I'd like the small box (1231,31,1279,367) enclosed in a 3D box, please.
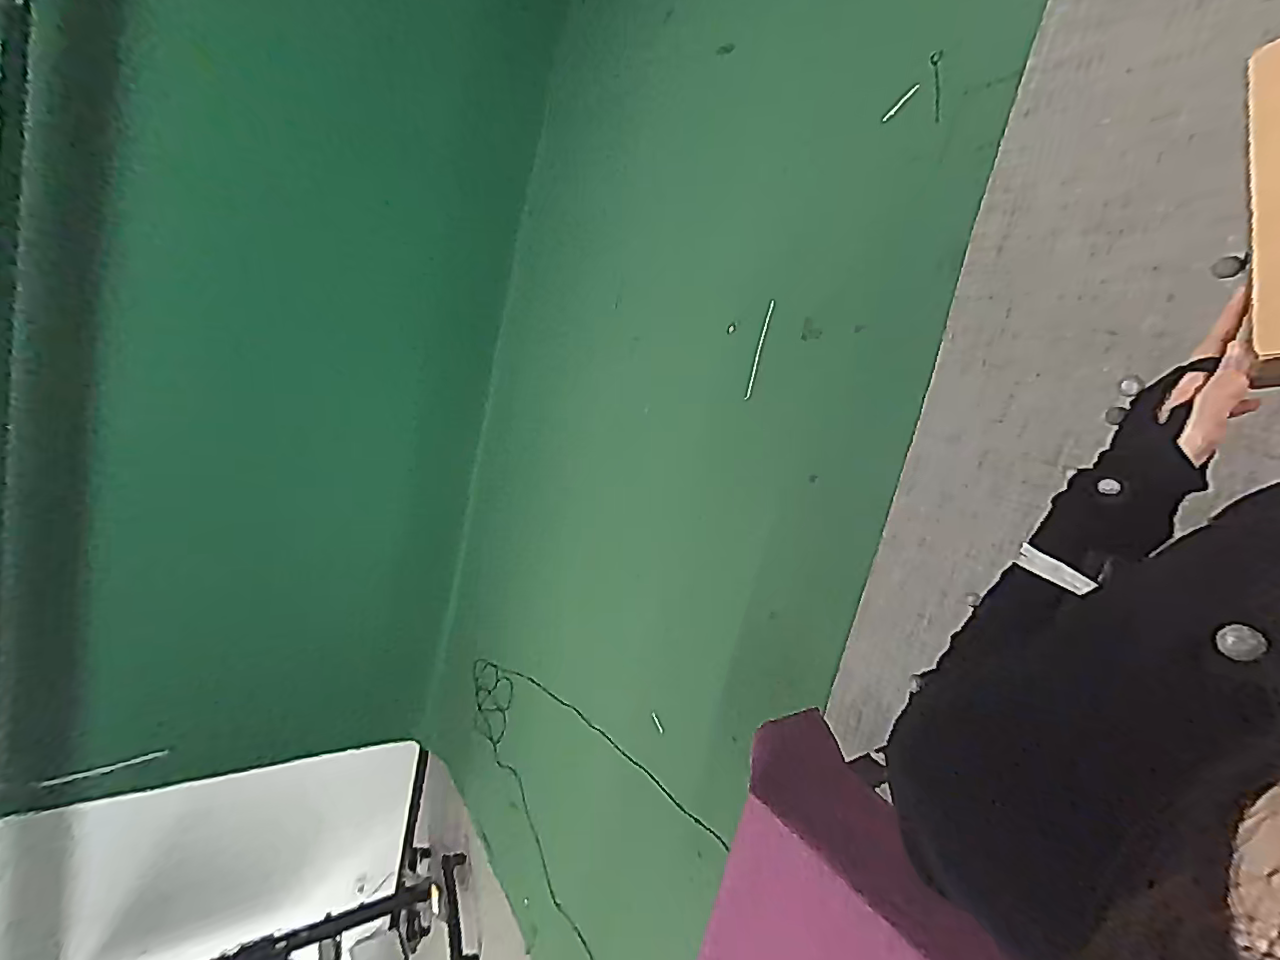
[{"bbox_3d":[0.458,-0.163,0.304,0.168,0.176,0.179,0,91,48],"label":"small box"}]
